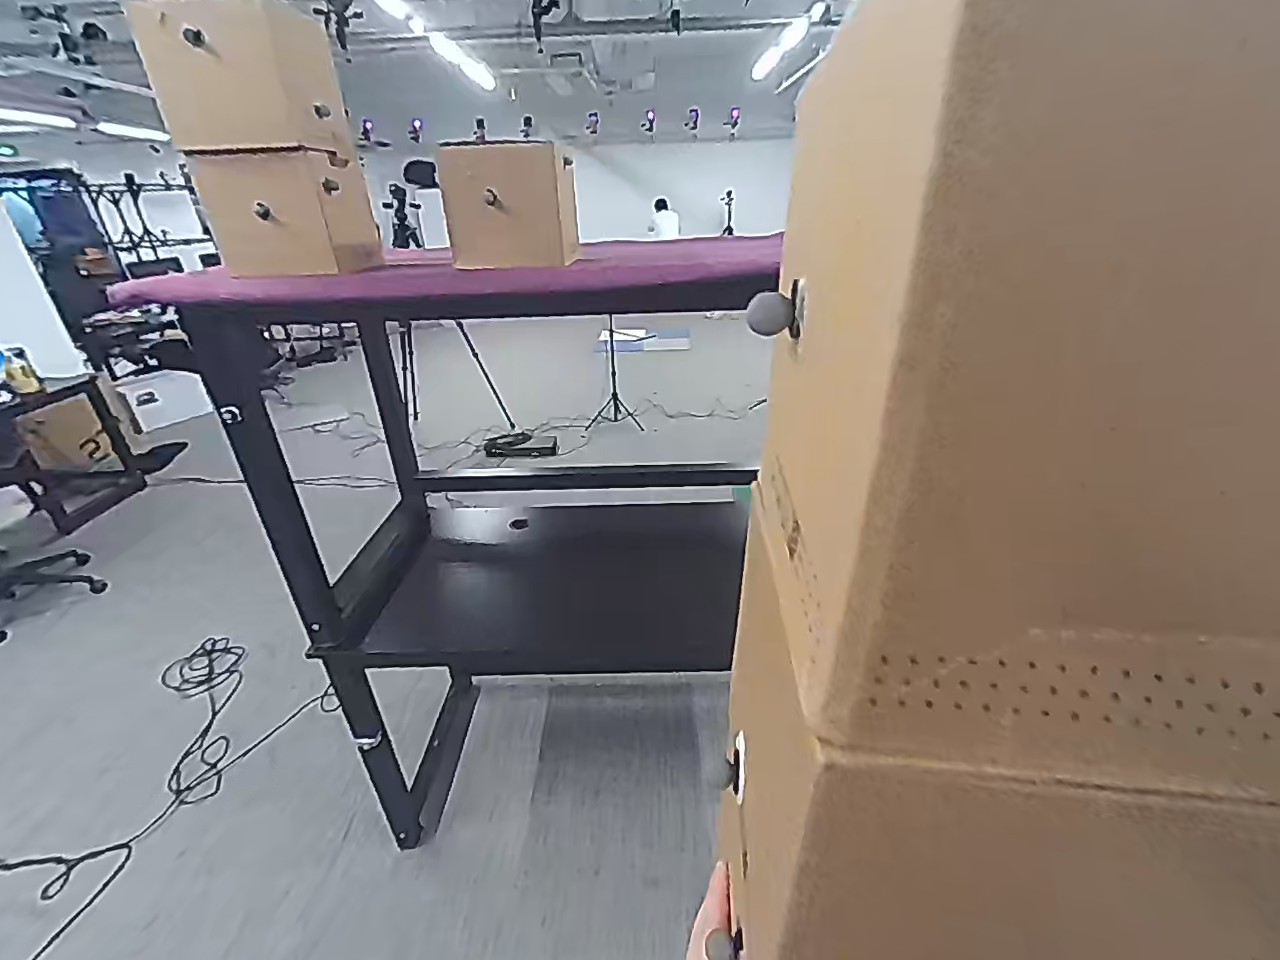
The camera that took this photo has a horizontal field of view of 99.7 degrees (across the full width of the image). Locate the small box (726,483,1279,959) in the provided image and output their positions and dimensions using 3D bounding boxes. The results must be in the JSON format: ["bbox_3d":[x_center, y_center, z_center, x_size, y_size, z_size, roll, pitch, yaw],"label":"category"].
[{"bbox_3d":[0.134,0.113,0.234,0.179,0.176,0.168,2,24,5],"label":"small box"}]

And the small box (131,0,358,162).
[{"bbox_3d":[-0.541,-0.559,0.771,0.179,0.176,0.168,-1,28,0],"label":"small box"}]

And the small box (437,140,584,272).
[{"bbox_3d":[-0.193,-0.429,0.860,0.179,0.176,0.168,-1,28,3],"label":"small box"}]

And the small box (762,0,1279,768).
[{"bbox_3d":[0.135,-0.037,0.172,0.179,0.176,0.168,4,24,6],"label":"small box"}]
